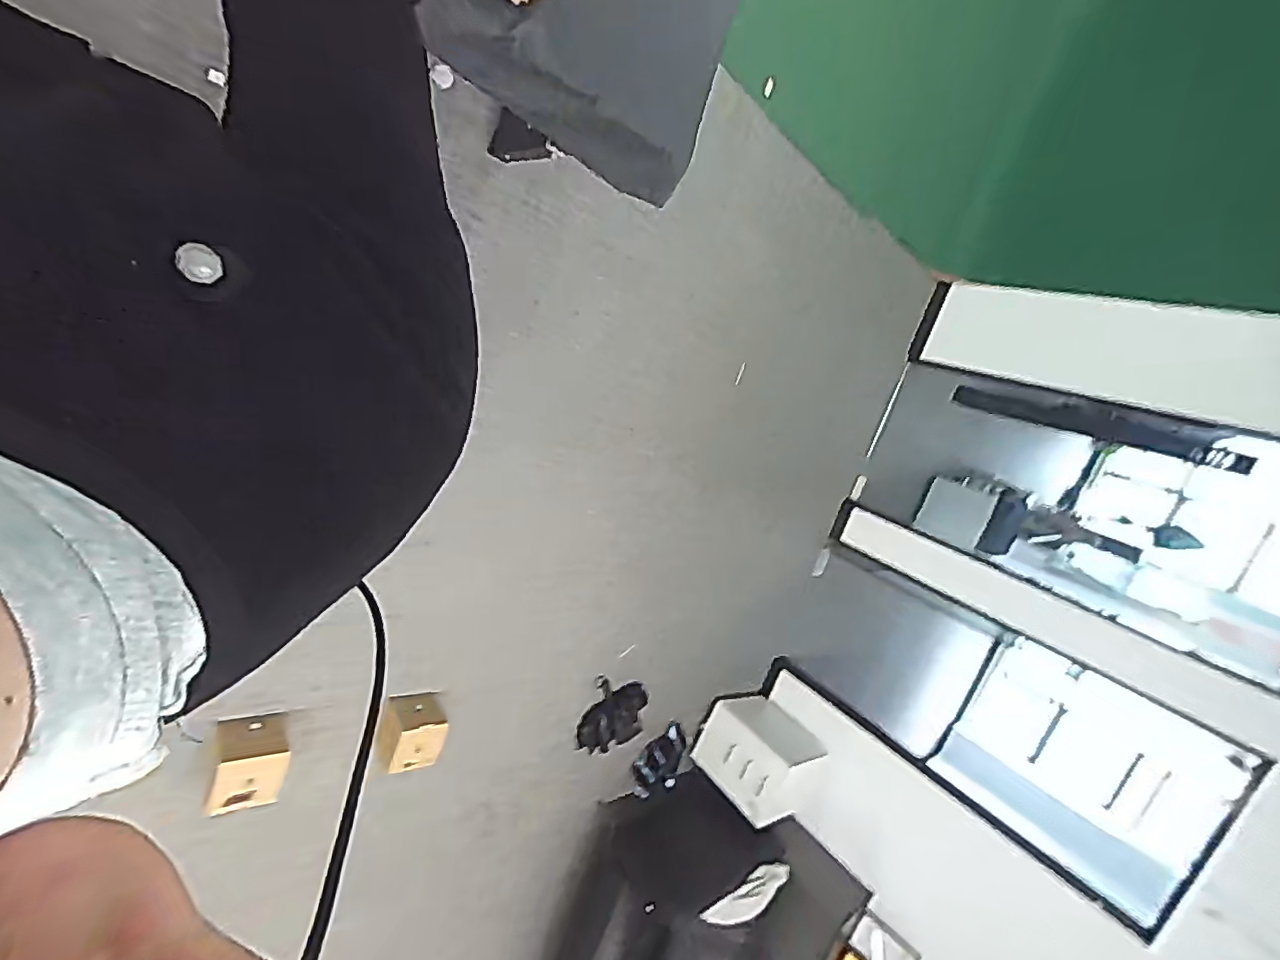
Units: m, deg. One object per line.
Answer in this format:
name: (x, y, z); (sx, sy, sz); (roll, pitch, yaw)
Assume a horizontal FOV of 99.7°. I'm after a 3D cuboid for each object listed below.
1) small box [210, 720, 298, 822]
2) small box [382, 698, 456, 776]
small box: (-1.105, 0.820, 1.542); (0.168, 0.176, 0.179); (12, 101, -46)
small box: (-0.773, 0.881, 1.878); (0.168, 0.176, 0.179); (12, 102, -45)
